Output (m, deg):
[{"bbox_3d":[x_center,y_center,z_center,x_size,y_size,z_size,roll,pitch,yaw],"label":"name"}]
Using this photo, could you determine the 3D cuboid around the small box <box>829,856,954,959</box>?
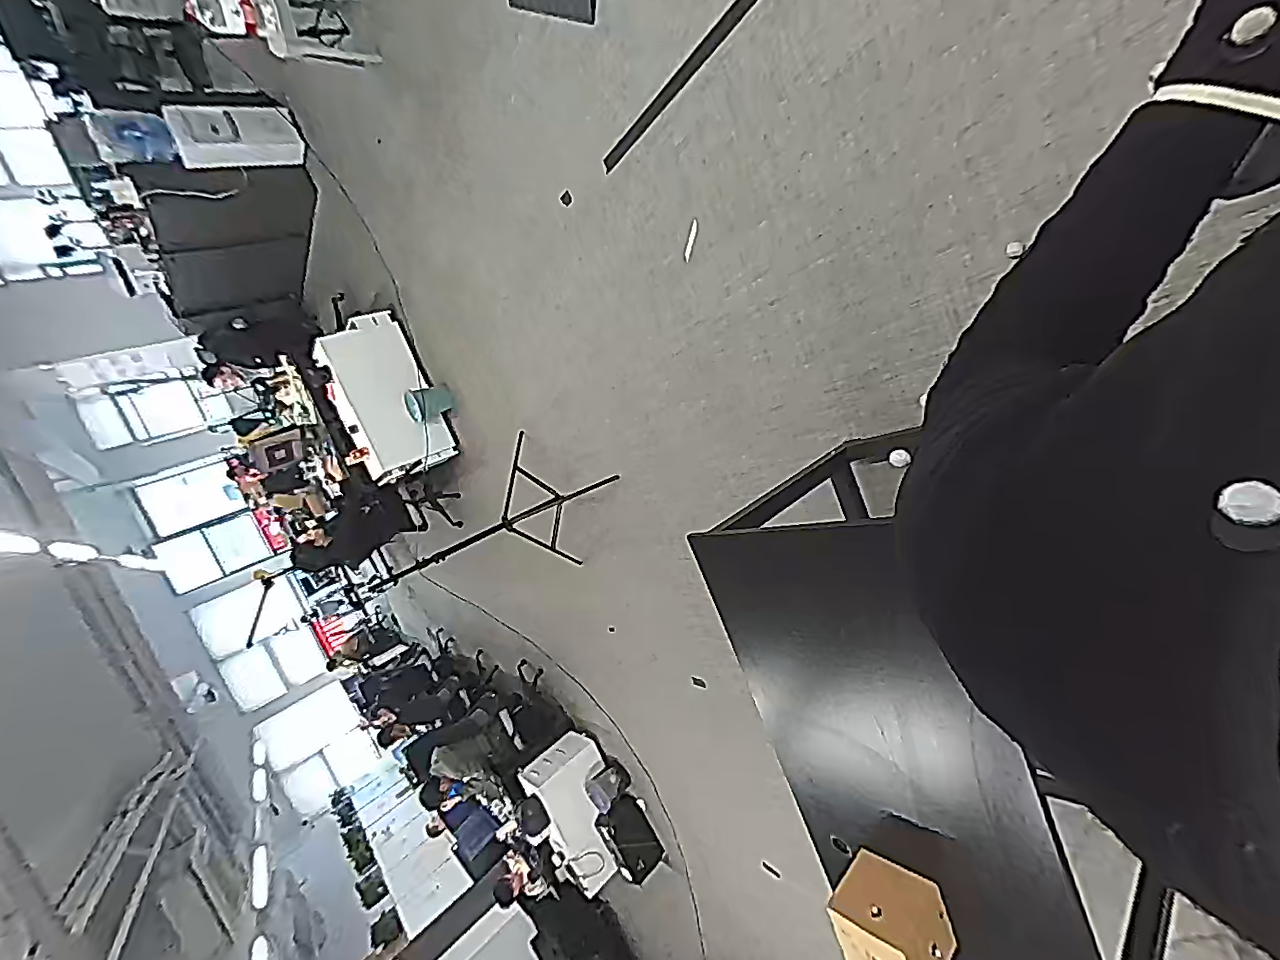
[{"bbox_3d":[0.544,0.962,1.158,0.179,0.176,0.168,-9,104,54],"label":"small box"}]
